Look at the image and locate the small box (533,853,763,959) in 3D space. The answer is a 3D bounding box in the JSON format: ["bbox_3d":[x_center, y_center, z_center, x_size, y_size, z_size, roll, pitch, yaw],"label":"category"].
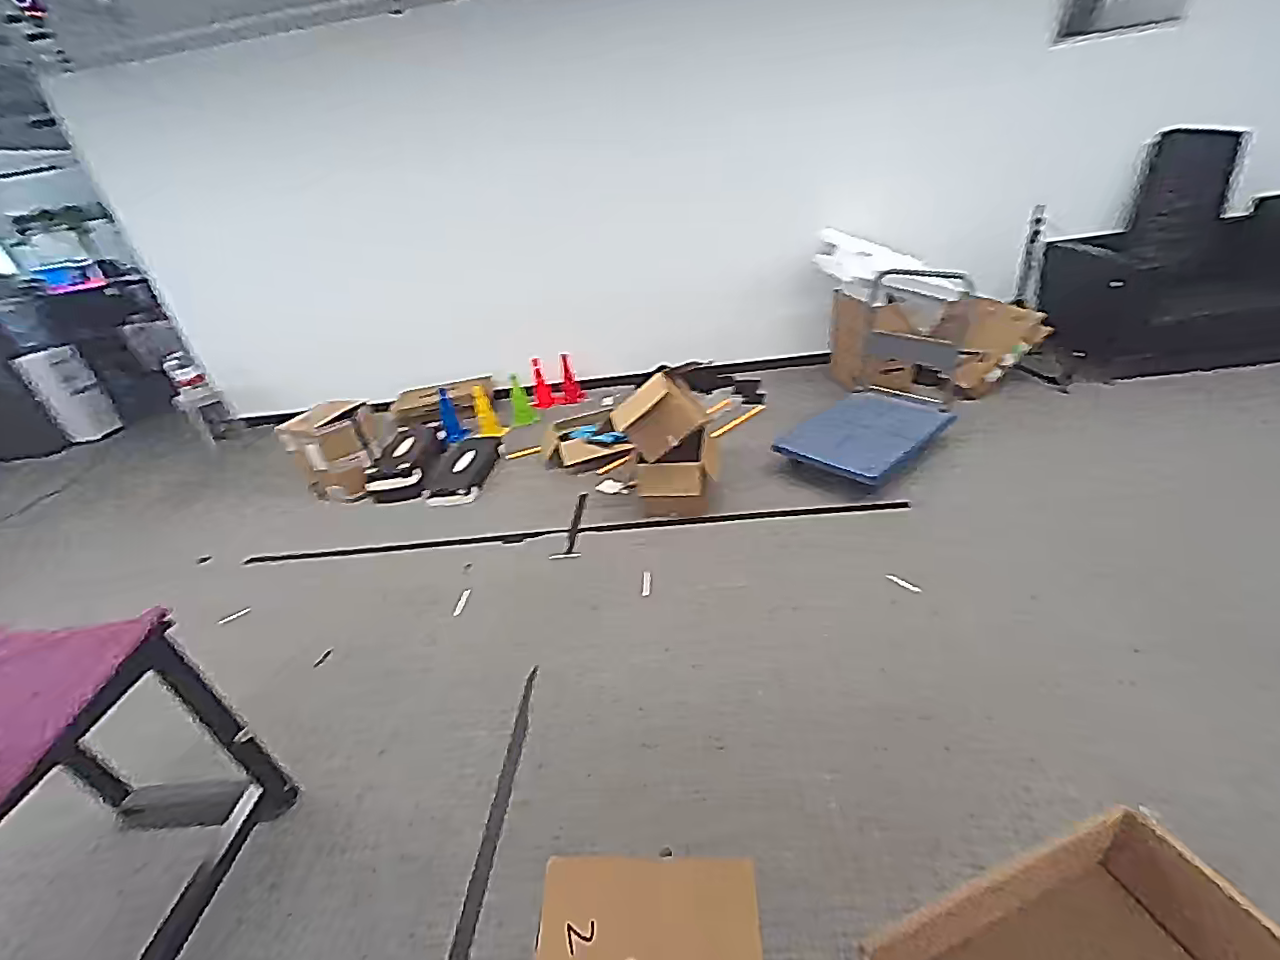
[{"bbox_3d":[0.015,0.426,0.447,0.179,0.176,0.168,-6,42,7],"label":"small box"}]
